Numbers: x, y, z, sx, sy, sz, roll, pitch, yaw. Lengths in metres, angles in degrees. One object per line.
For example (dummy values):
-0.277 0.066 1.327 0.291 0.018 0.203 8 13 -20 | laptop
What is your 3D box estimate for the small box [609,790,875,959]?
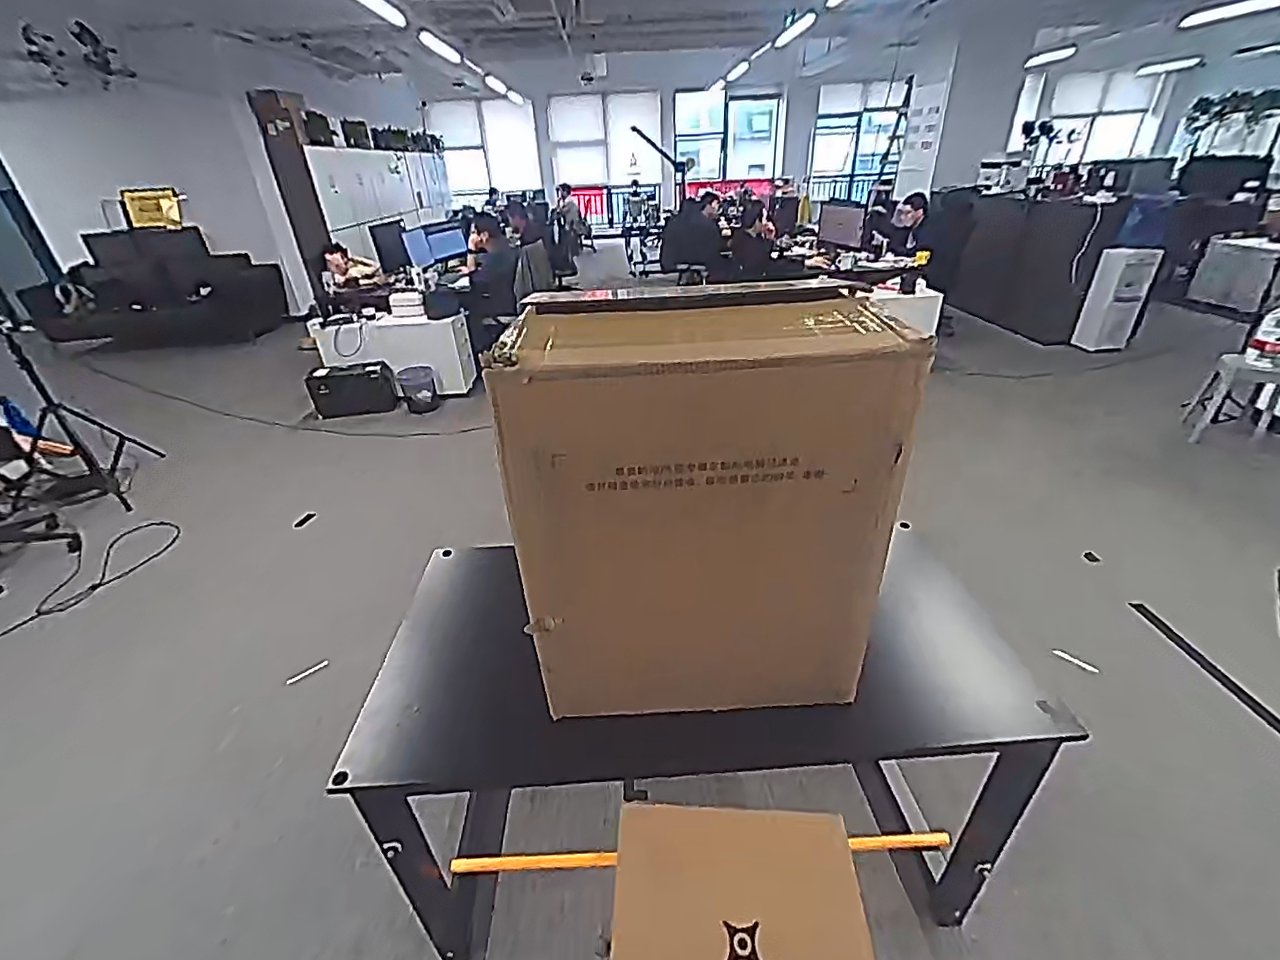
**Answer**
0.062 0.352 0.384 0.168 0.176 0.179 1 39 3 | small box
